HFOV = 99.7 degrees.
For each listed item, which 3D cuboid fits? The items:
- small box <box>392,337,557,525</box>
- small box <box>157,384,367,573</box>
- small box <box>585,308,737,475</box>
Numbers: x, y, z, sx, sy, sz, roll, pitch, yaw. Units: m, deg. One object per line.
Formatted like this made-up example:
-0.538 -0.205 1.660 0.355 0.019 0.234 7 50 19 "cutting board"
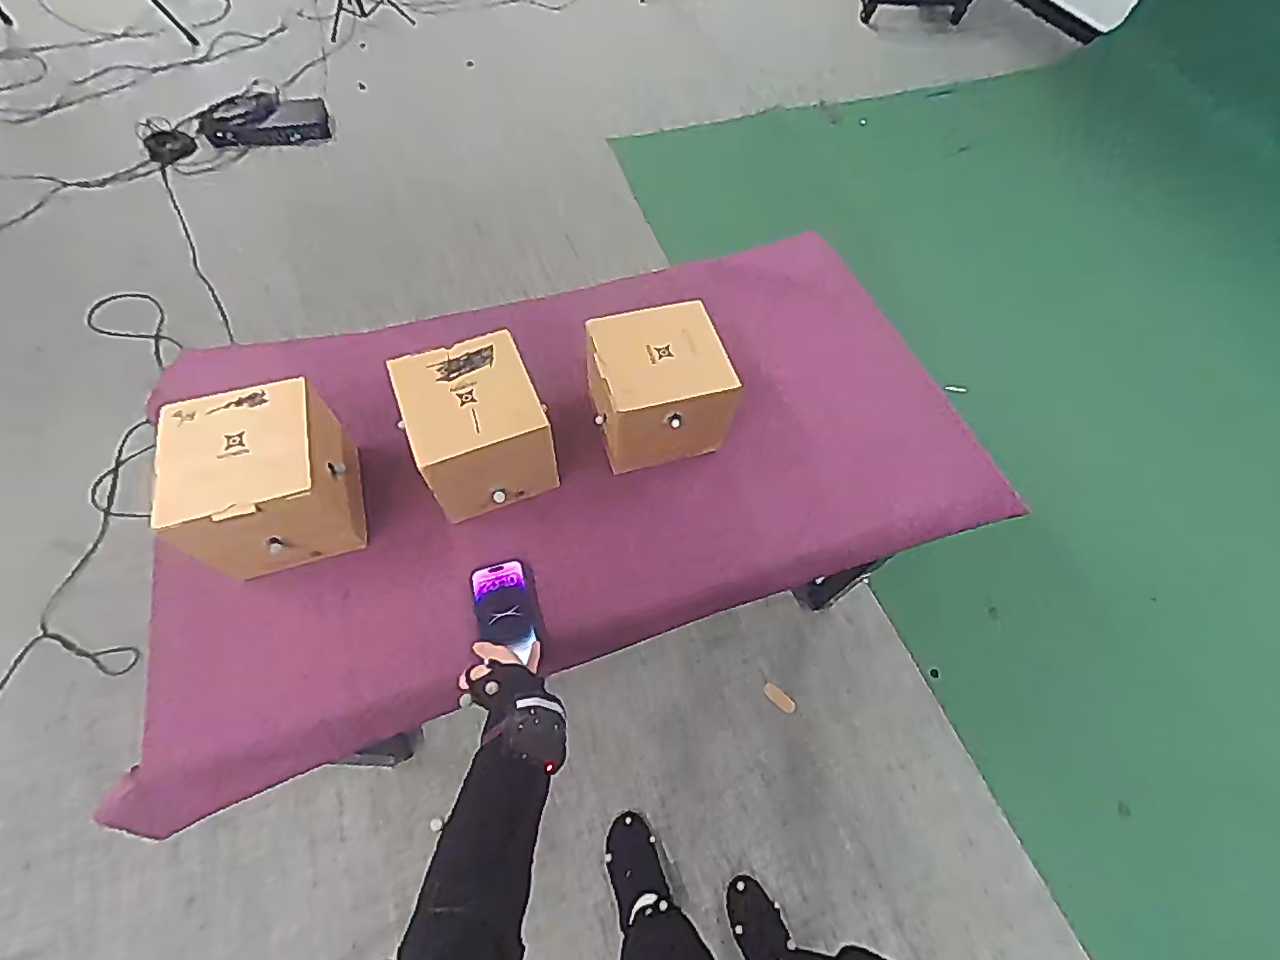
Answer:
-0.224 -0.064 0.761 0.168 0.176 0.179 -20 64 -13 "small box"
-0.477 0.008 0.708 0.168 0.176 0.179 -15 63 -11 "small box"
0.023 -0.126 0.809 0.179 0.176 0.168 -13 63 -10 "small box"
